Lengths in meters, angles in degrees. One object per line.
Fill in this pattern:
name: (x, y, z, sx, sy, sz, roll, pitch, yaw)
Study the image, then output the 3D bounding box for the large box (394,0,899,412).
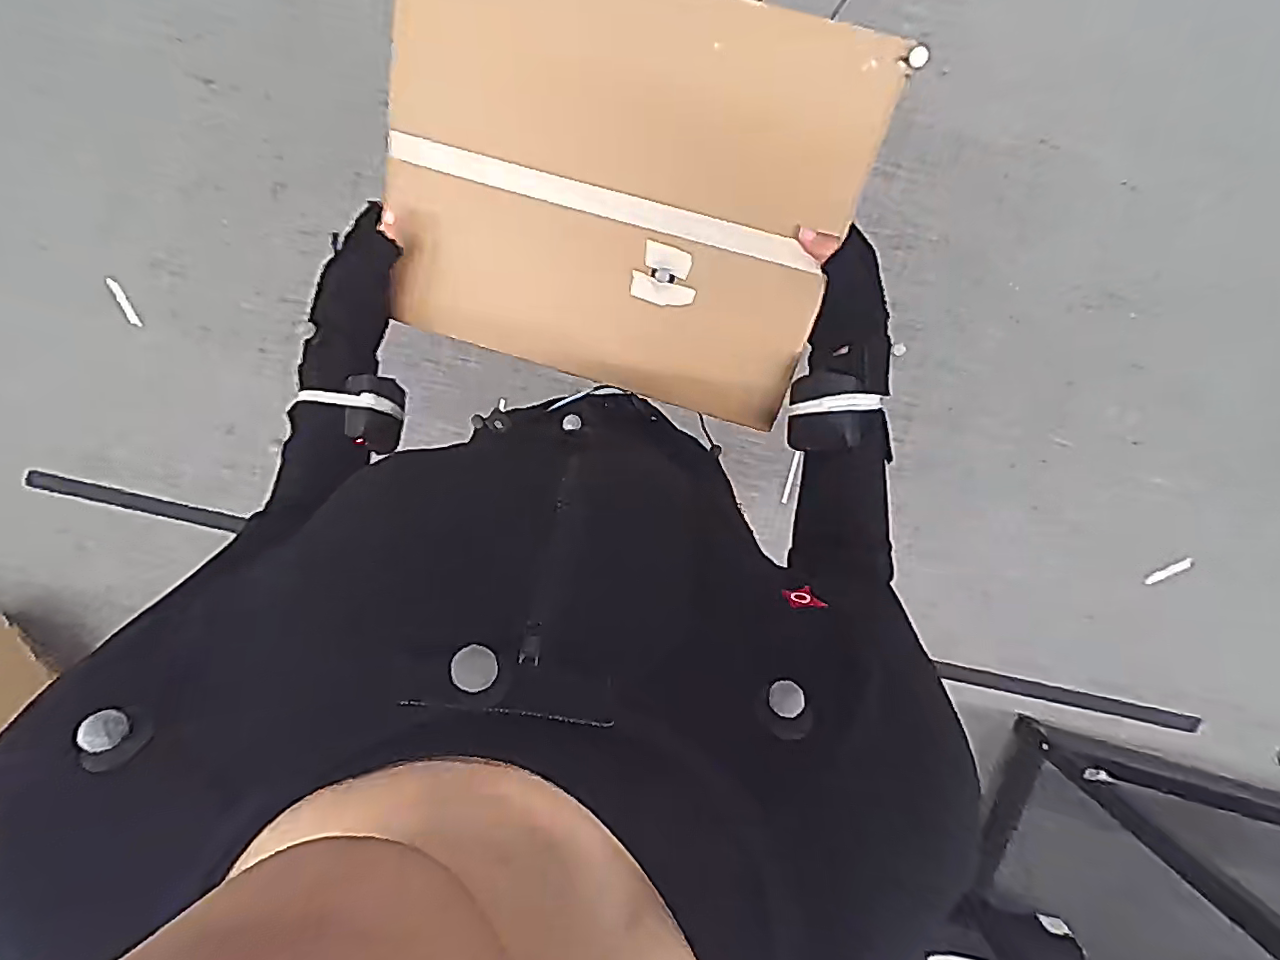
large box: (-0.005, -0.309, 0.615, 0.408, 0.320, 0.320, 17, 116, 3)
